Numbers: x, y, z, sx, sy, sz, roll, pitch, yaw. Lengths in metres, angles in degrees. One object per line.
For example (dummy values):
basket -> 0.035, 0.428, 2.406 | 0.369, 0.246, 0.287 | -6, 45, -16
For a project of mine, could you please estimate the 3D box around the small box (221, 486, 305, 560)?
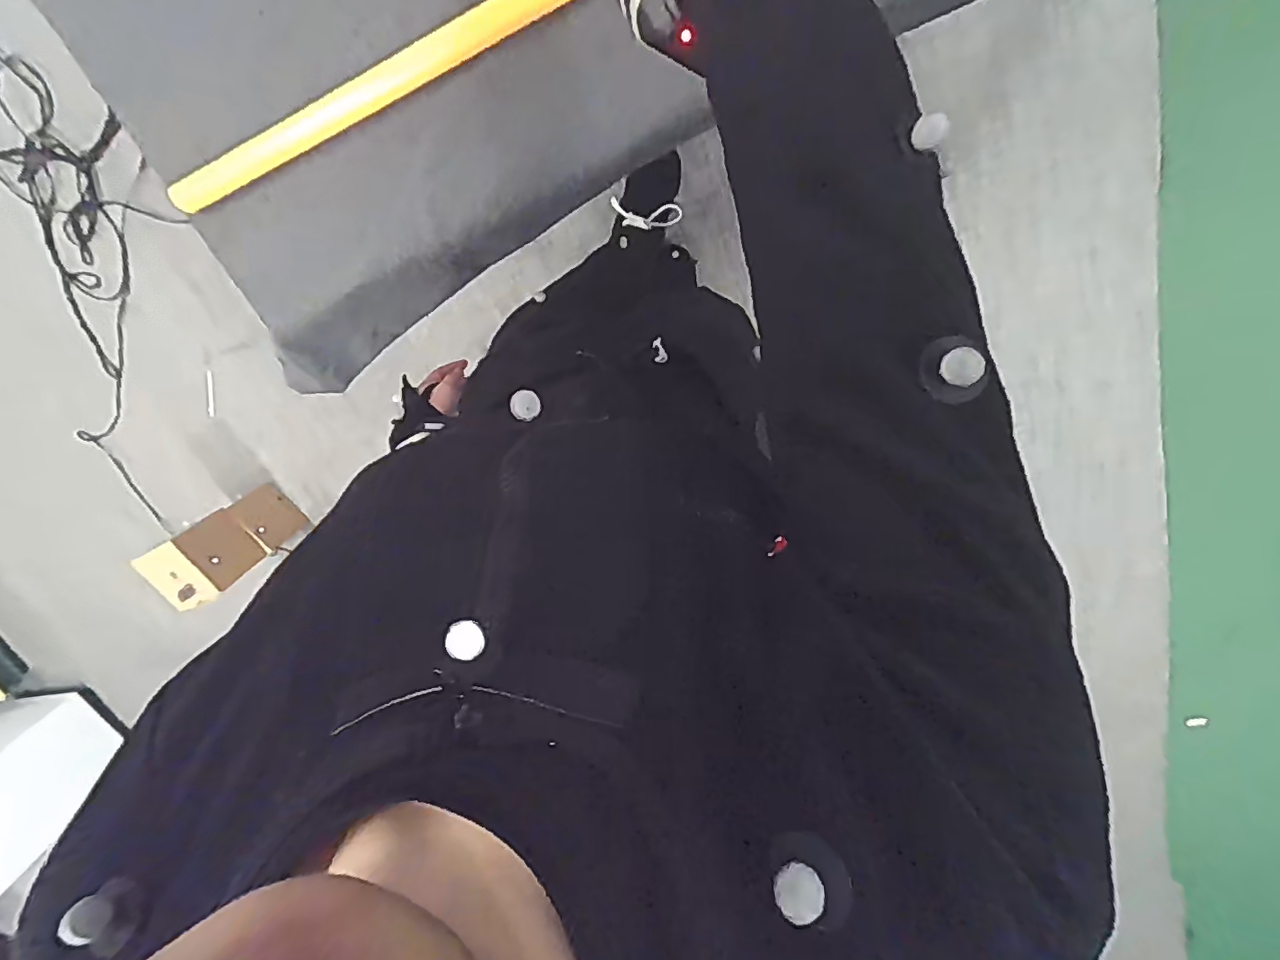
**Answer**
small box -> -1.133, 0.147, 1.581 | 0.179, 0.176, 0.168 | -28, 111, 20

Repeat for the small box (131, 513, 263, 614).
small box -> -1.161, 0.217, 1.433 | 0.168, 0.176, 0.179 | -23, 112, 17
